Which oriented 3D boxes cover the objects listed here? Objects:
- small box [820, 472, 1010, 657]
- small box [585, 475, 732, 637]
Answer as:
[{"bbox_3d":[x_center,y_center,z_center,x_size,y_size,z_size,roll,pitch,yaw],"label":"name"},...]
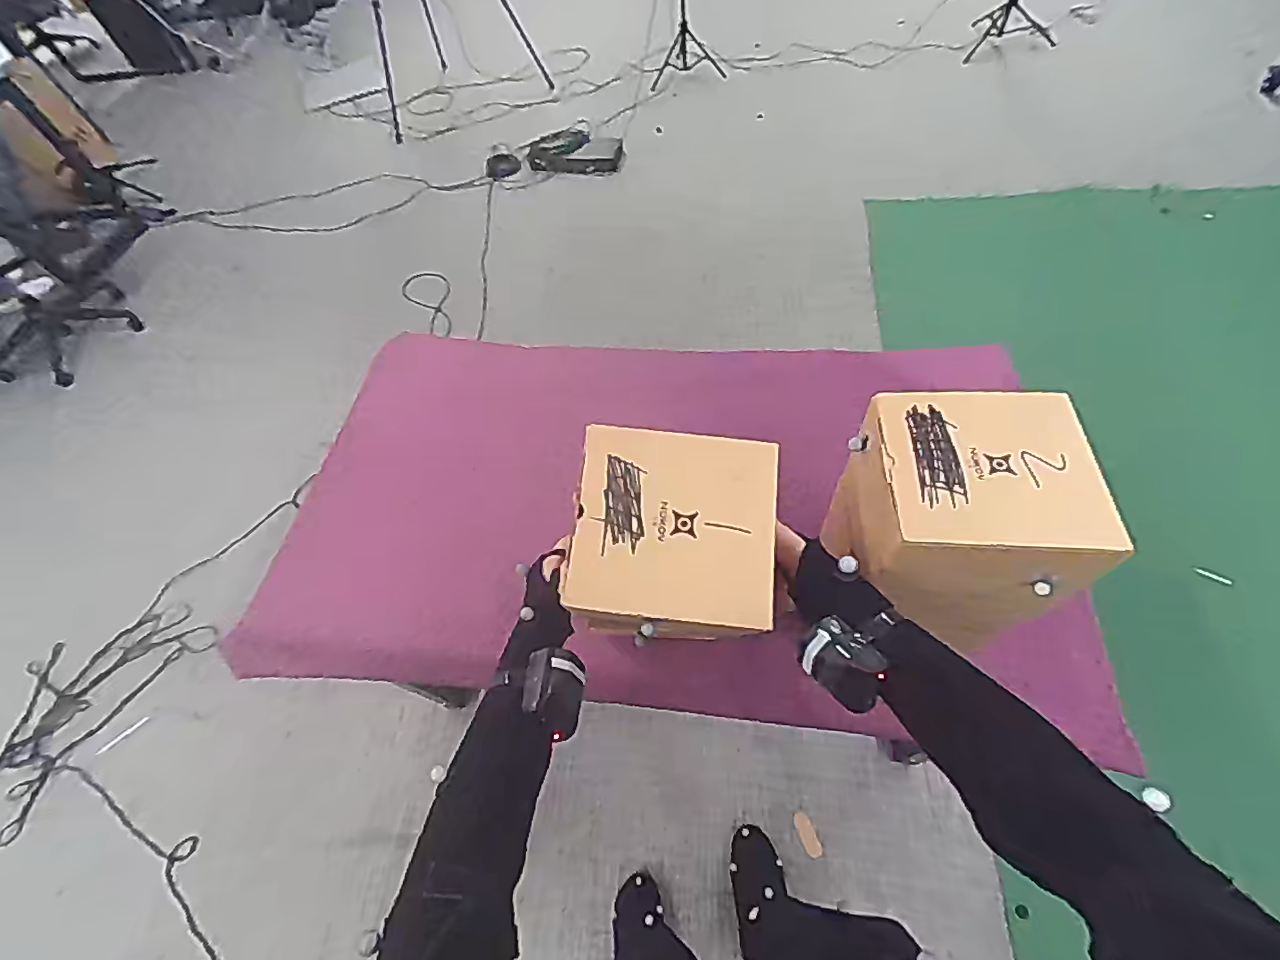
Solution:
[{"bbox_3d":[0.327,0.111,0.684,0.168,0.176,0.179,4,57,10],"label":"small box"},{"bbox_3d":[0.026,0.106,0.701,0.168,0.176,0.179,3,69,1],"label":"small box"}]
